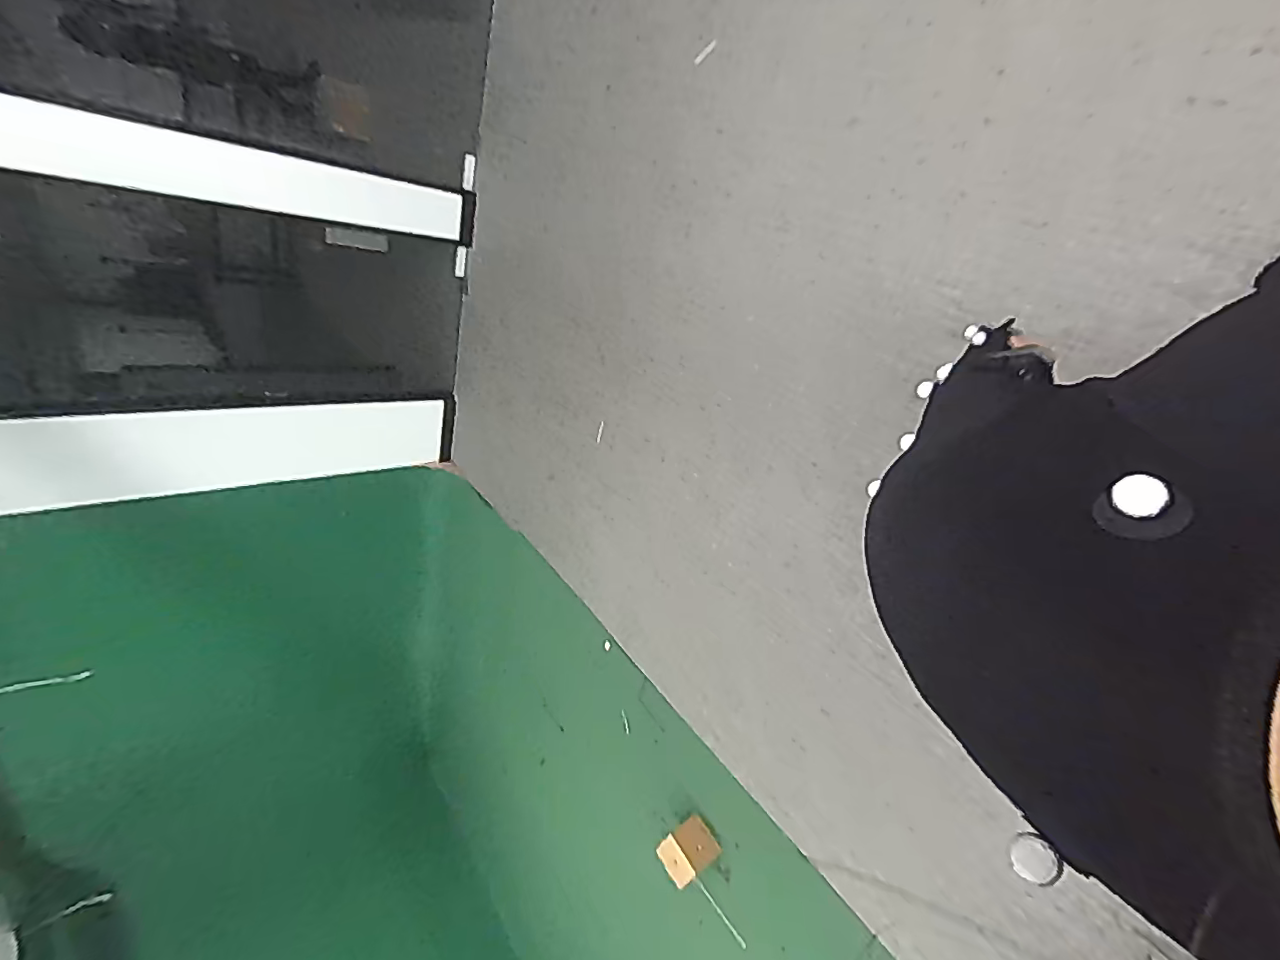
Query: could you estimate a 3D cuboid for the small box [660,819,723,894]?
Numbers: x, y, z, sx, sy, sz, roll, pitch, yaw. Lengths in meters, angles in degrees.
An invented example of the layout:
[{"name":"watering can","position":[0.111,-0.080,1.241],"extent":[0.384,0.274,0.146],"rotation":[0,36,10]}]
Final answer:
[{"name":"small box","position":[0.219,1.547,2.232],"extent":[0.168,0.176,0.179],"rotation":[46,129,32]}]
